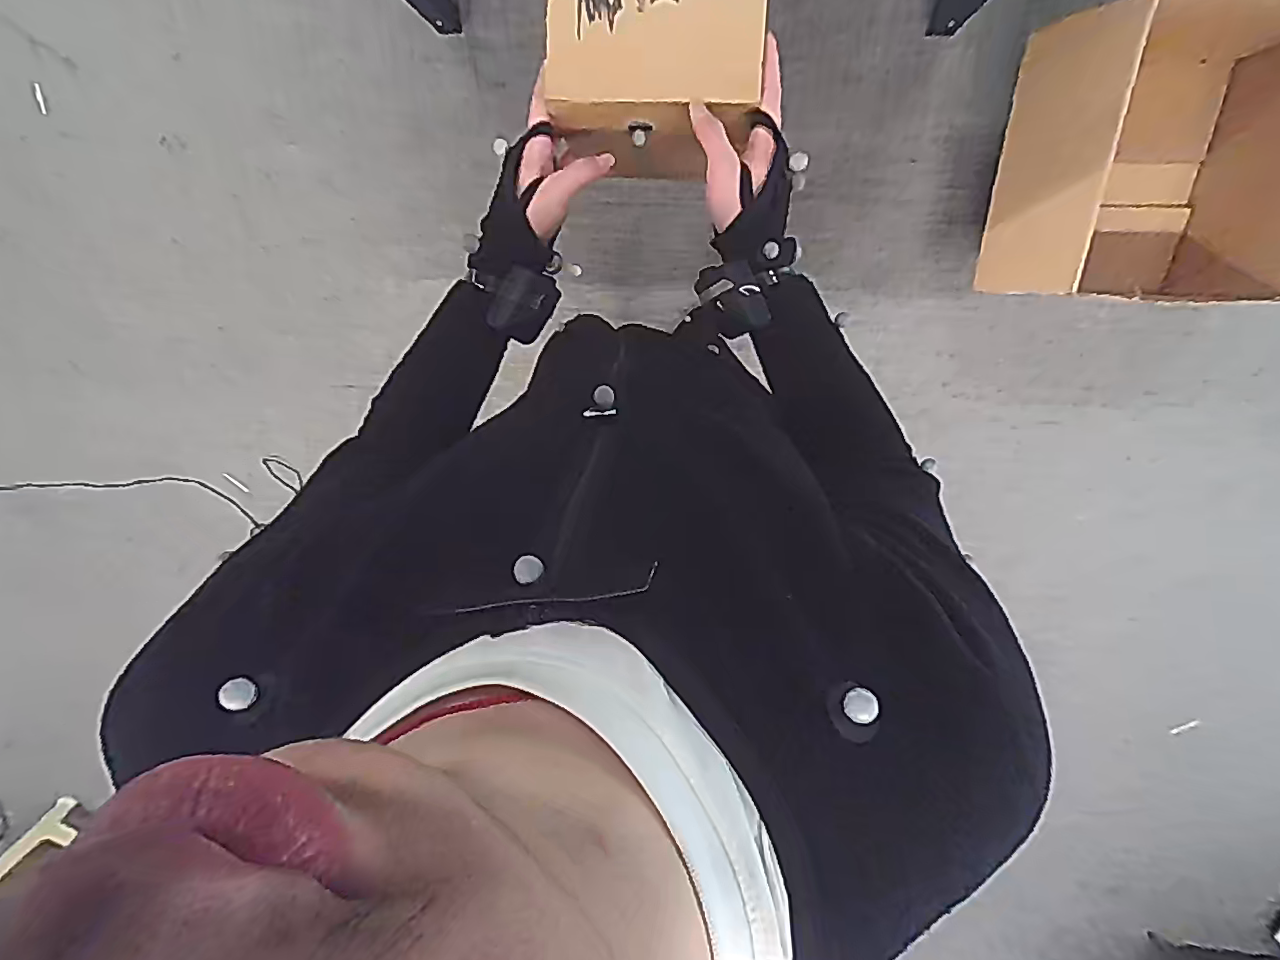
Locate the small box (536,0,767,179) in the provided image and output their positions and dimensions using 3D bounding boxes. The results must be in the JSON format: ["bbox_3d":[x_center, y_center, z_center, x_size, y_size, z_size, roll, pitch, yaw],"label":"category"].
[{"bbox_3d":[0.019,-0.392,0.490,0.179,0.176,0.168,7,103,5],"label":"small box"}]
